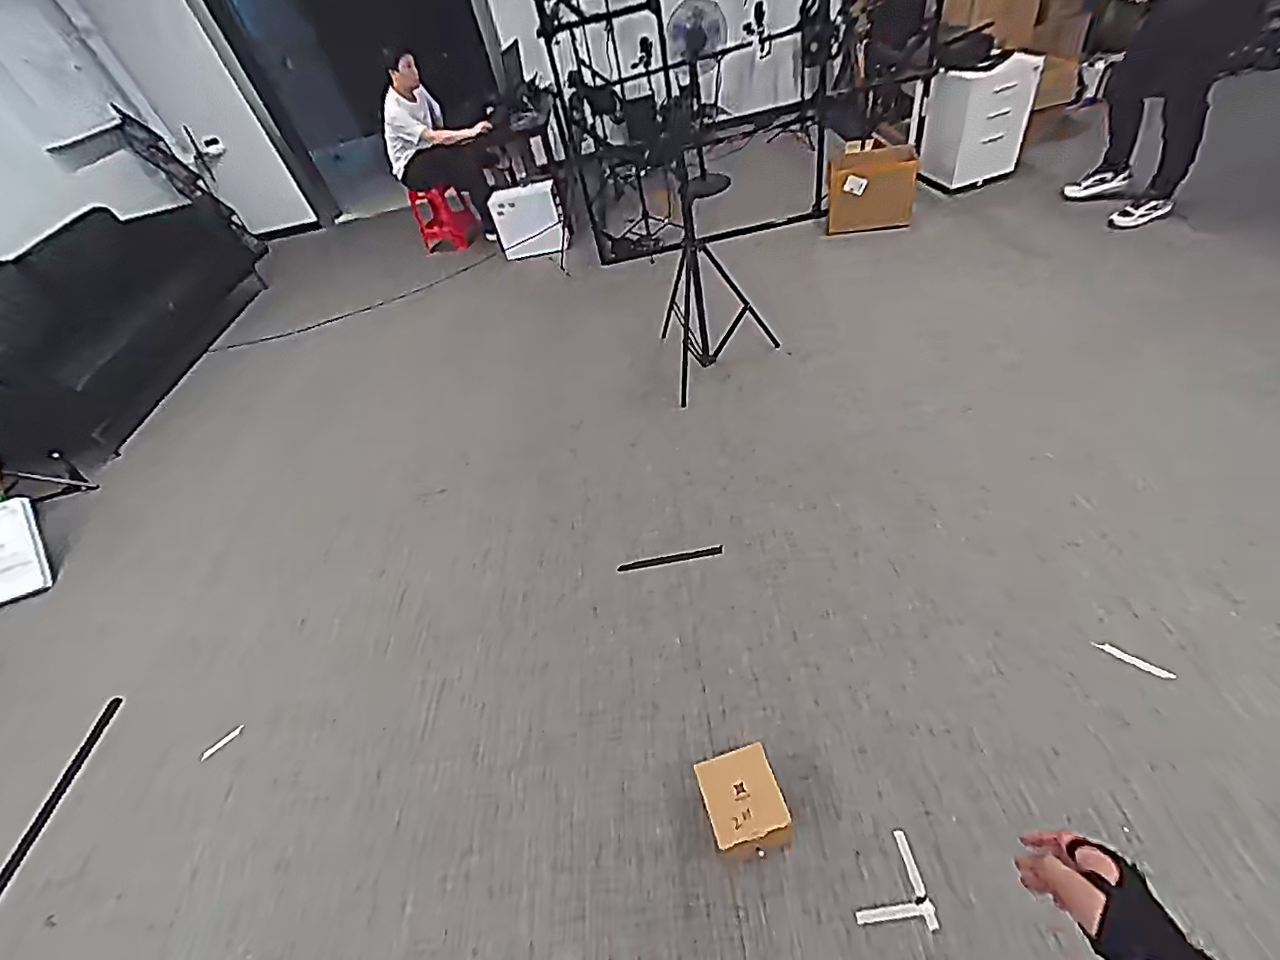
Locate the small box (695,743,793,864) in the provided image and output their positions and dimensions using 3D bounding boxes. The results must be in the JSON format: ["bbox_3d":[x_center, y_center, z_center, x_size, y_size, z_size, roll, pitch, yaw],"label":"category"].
[{"bbox_3d":[0.237,0.741,1.237,0.168,0.176,0.179,-19,45,-2],"label":"small box"}]
